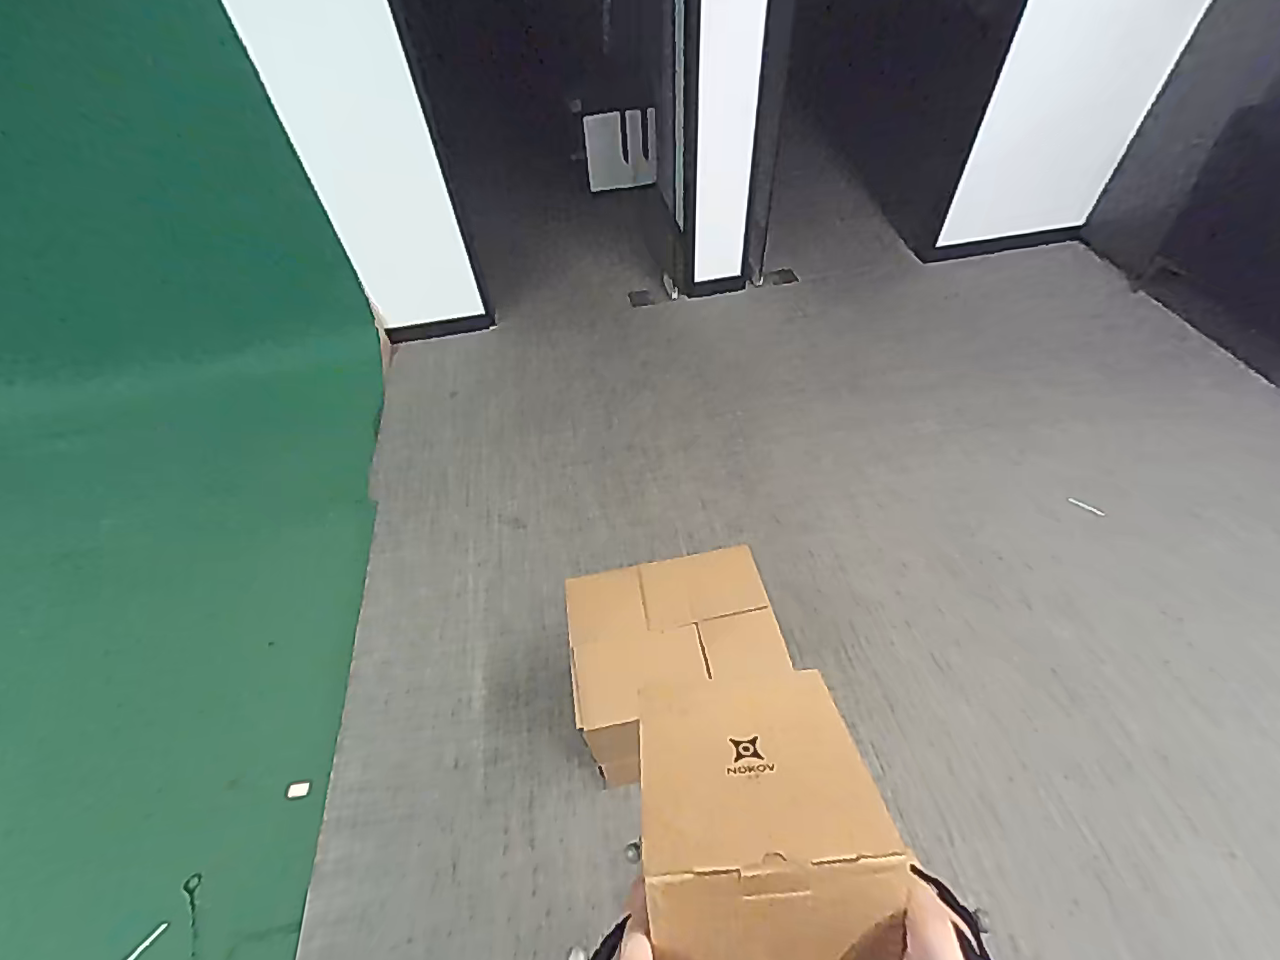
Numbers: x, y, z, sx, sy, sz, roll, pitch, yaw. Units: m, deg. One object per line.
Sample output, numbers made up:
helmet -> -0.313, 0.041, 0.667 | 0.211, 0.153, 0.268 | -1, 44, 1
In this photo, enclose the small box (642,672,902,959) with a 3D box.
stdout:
small box -> 0.088, 0.286, 0.443 | 0.168, 0.176, 0.179 | -5, 20, 1
